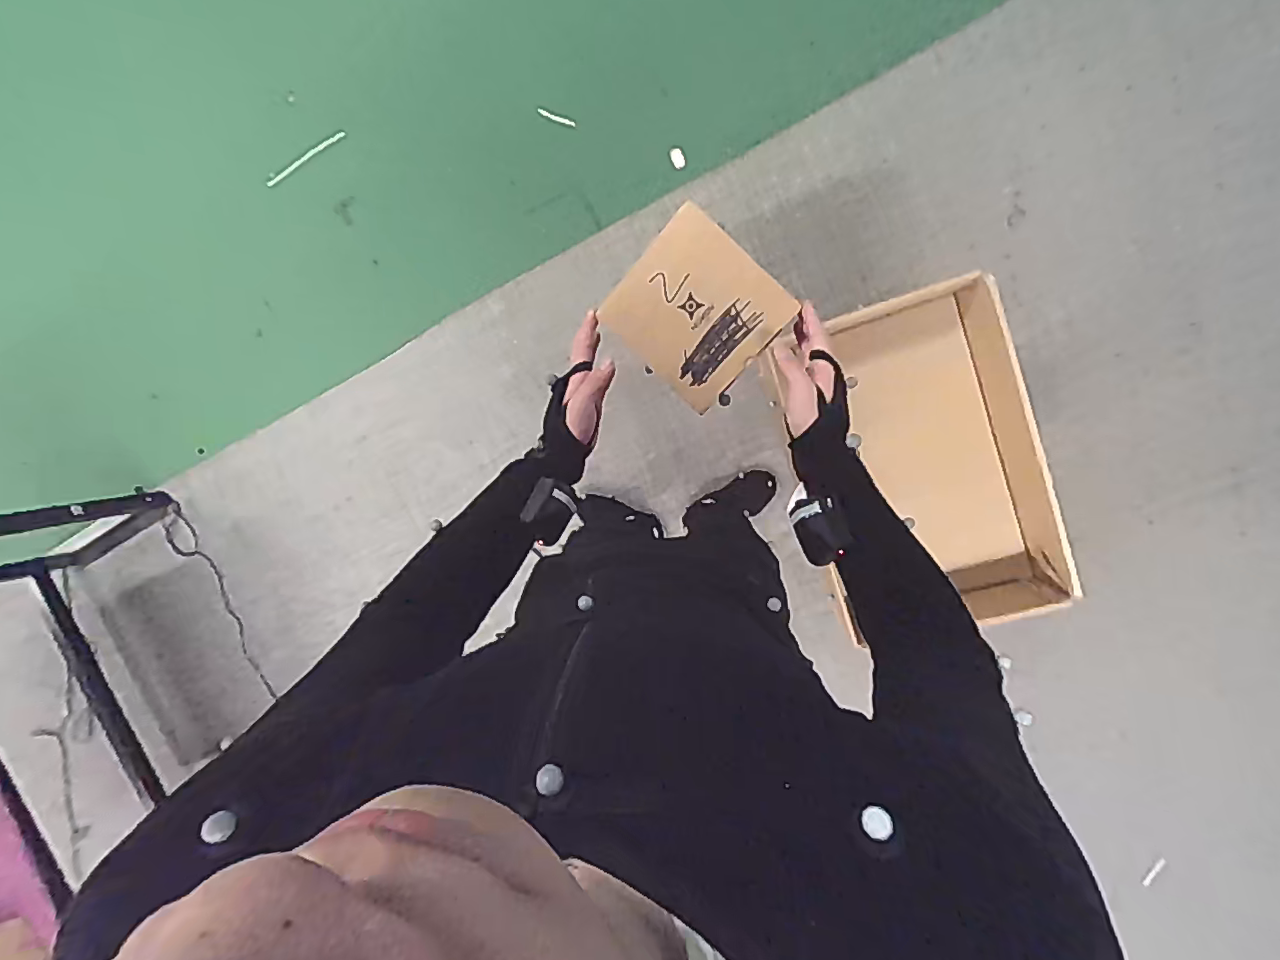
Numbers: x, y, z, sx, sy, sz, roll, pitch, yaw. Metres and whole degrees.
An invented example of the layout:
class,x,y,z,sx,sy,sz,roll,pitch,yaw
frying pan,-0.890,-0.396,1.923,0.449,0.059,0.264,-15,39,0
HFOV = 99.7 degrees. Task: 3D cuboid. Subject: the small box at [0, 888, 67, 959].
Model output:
class,x,y,z,sx,sy,sz,roll,pitch,yaw
small box,-1.515,1.104,1.267,0.179,0.176,0.168,-24,92,15
